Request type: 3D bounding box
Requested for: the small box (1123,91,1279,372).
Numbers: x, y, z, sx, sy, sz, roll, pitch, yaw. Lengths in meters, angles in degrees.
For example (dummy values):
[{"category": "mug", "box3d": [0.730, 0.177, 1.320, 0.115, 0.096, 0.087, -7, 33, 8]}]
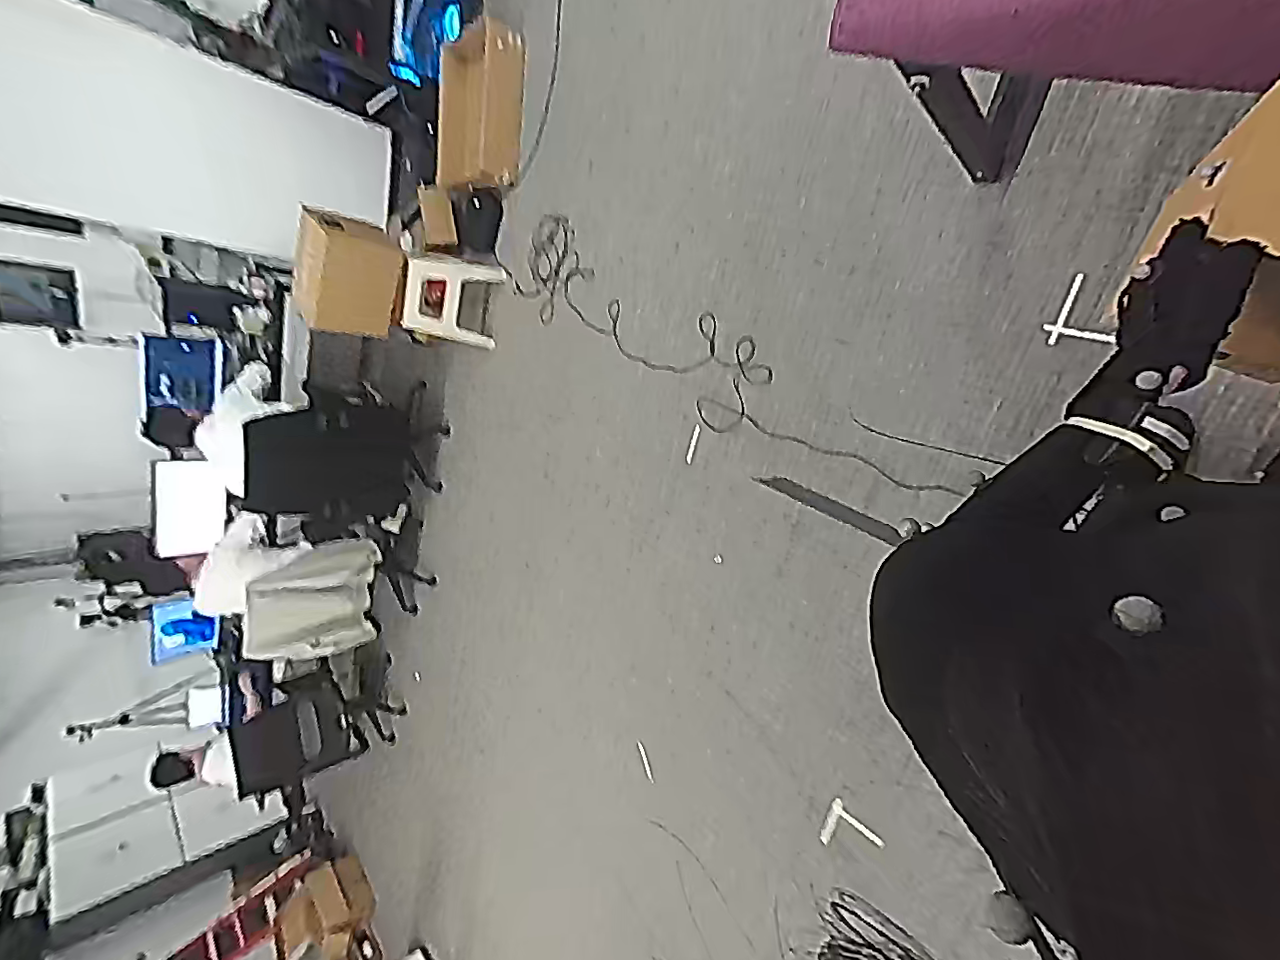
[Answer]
[{"category": "small box", "box3d": [0.596, -0.228, 0.485, 0.168, 0.176, 0.179, 30, 89, 21]}]
